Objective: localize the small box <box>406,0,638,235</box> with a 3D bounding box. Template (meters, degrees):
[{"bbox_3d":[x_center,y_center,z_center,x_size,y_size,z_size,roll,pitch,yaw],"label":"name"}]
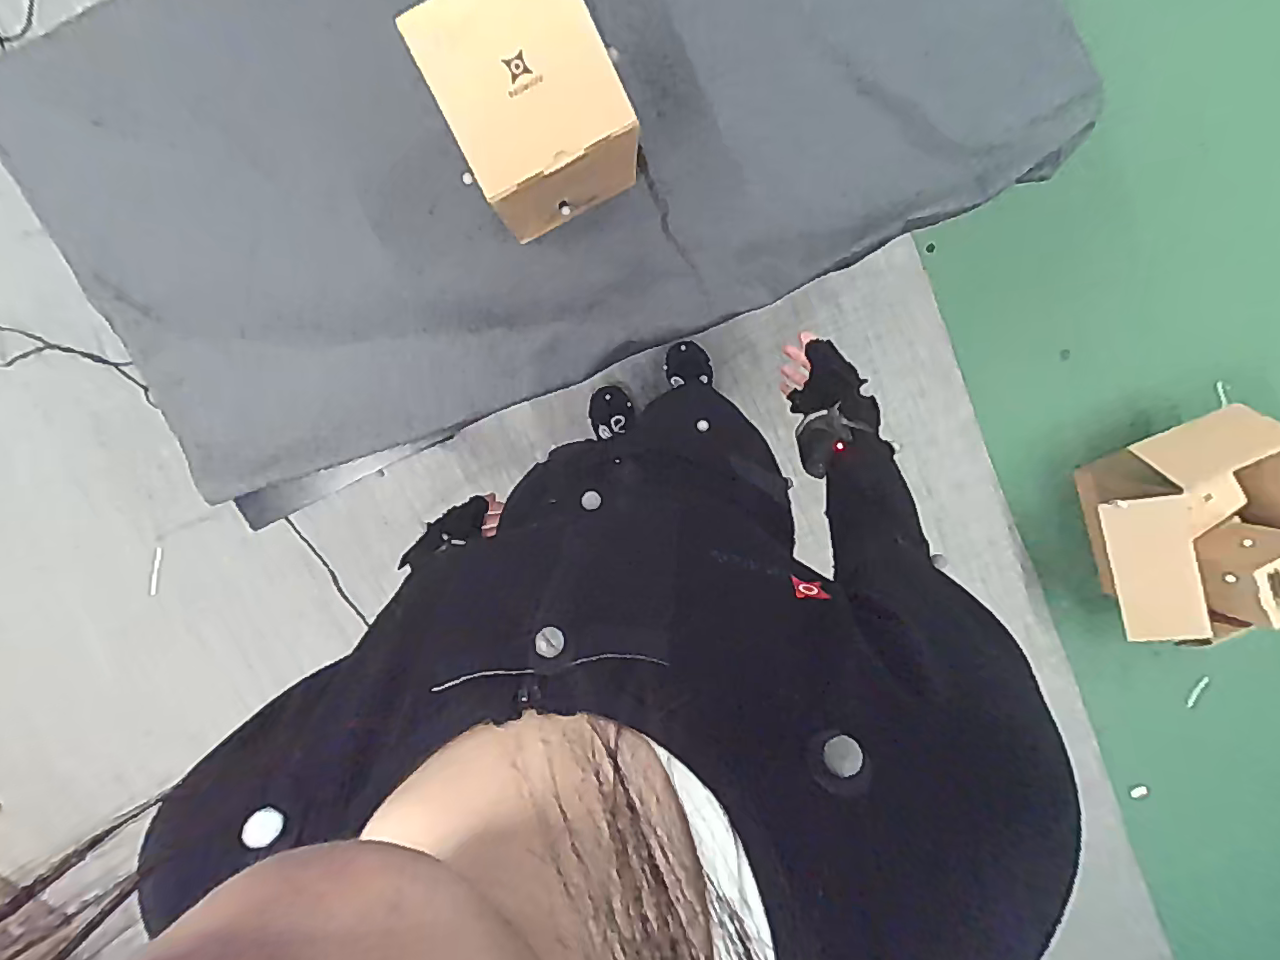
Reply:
[{"bbox_3d":[-0.116,-0.404,0.597,0.168,0.176,0.179,-27,102,3],"label":"small box"}]
